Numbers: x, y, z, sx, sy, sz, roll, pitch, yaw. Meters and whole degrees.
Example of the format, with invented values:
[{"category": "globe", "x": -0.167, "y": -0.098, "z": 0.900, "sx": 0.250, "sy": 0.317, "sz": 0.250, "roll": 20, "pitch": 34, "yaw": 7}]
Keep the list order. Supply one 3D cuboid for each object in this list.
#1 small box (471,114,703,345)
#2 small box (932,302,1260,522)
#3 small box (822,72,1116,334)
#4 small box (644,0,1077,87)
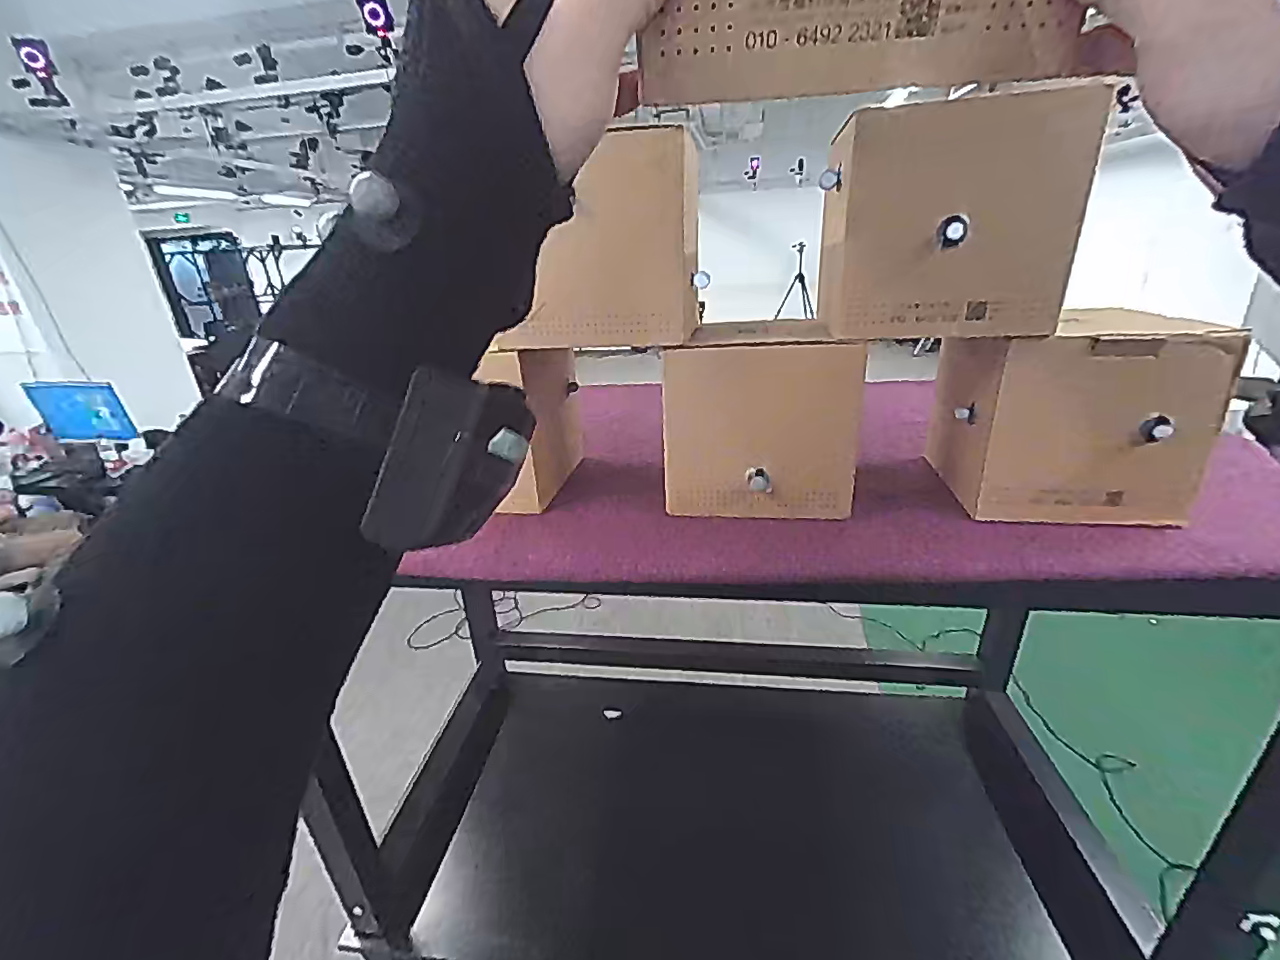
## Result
[{"category": "small box", "x": -0.034, "y": -0.224, "z": 0.517, "sx": 0.179, "sy": 0.176, "sz": 0.168, "roll": 2, "pitch": 23, "yaw": 10}, {"category": "small box", "x": 0.396, "y": -0.069, "z": 0.514, "sx": 0.168, "sy": 0.176, "sz": 0.179, "roll": 2, "pitch": 23, "yaw": 13}, {"category": "small box", "x": 0.257, "y": -0.224, "z": 0.475, "sx": 0.168, "sy": 0.176, "sz": 0.179, "roll": 2, "pitch": 23, "yaw": 12}, {"category": "small box", "x": 0.082, "y": -0.274, "z": 0.220, "sx": 0.168, "sy": 0.176, "sz": 0.179, "roll": -2, "pitch": 42, "yaw": 4}]
